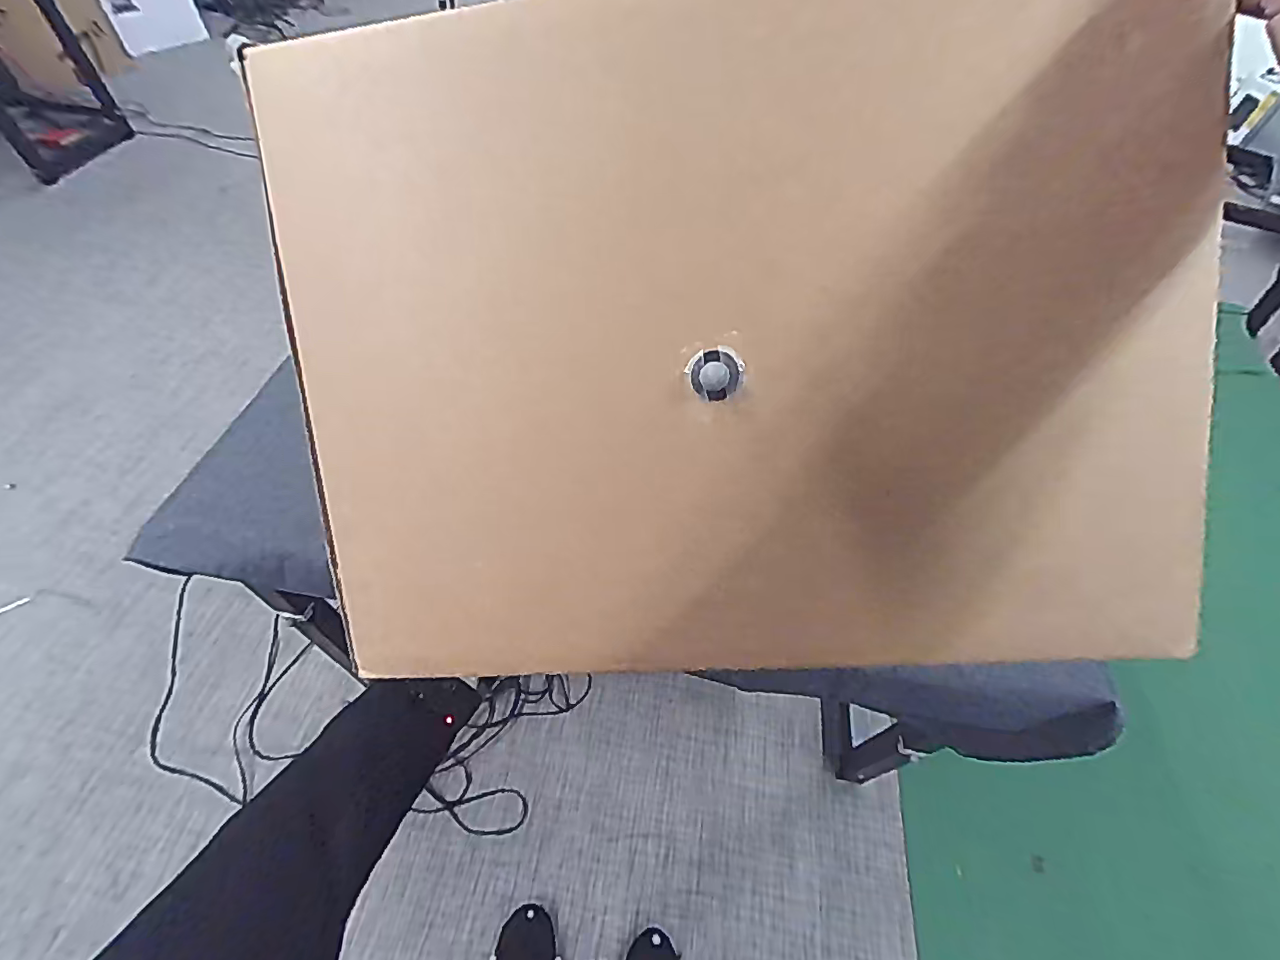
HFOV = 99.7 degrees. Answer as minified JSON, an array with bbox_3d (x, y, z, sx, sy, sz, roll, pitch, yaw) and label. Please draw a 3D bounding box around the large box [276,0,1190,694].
[{"bbox_3d":[0.056,-0.070,0.402,0.408,0.320,0.320,-6,8,7],"label":"large box"}]
